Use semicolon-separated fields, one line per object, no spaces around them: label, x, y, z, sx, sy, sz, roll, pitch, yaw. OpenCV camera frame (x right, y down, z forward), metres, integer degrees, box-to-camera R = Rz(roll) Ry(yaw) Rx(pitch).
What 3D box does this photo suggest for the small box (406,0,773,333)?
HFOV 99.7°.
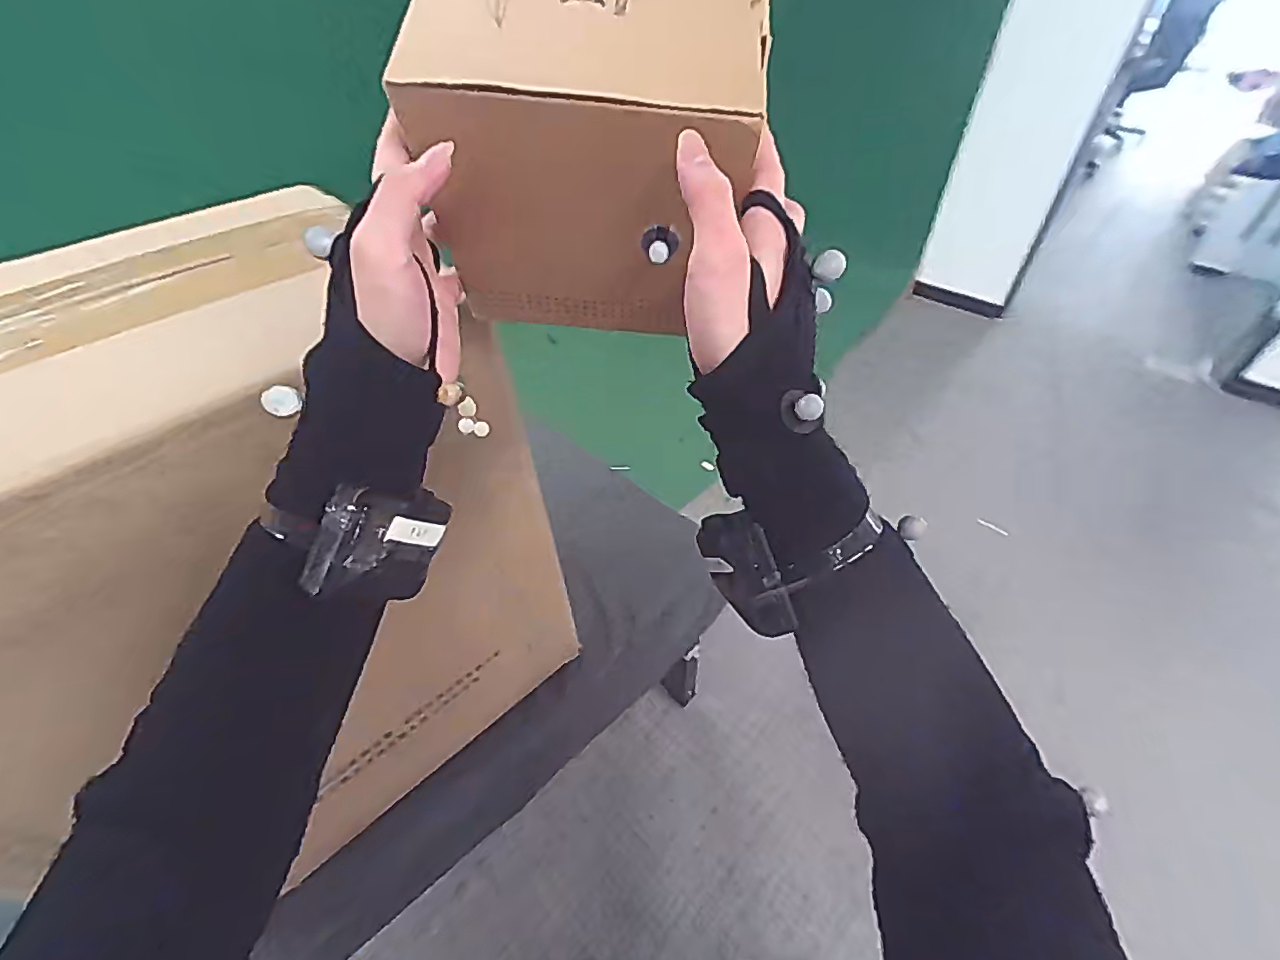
small box;-0.019;-0.217;0.357;0.179;0.176;0.168;5;68;1
